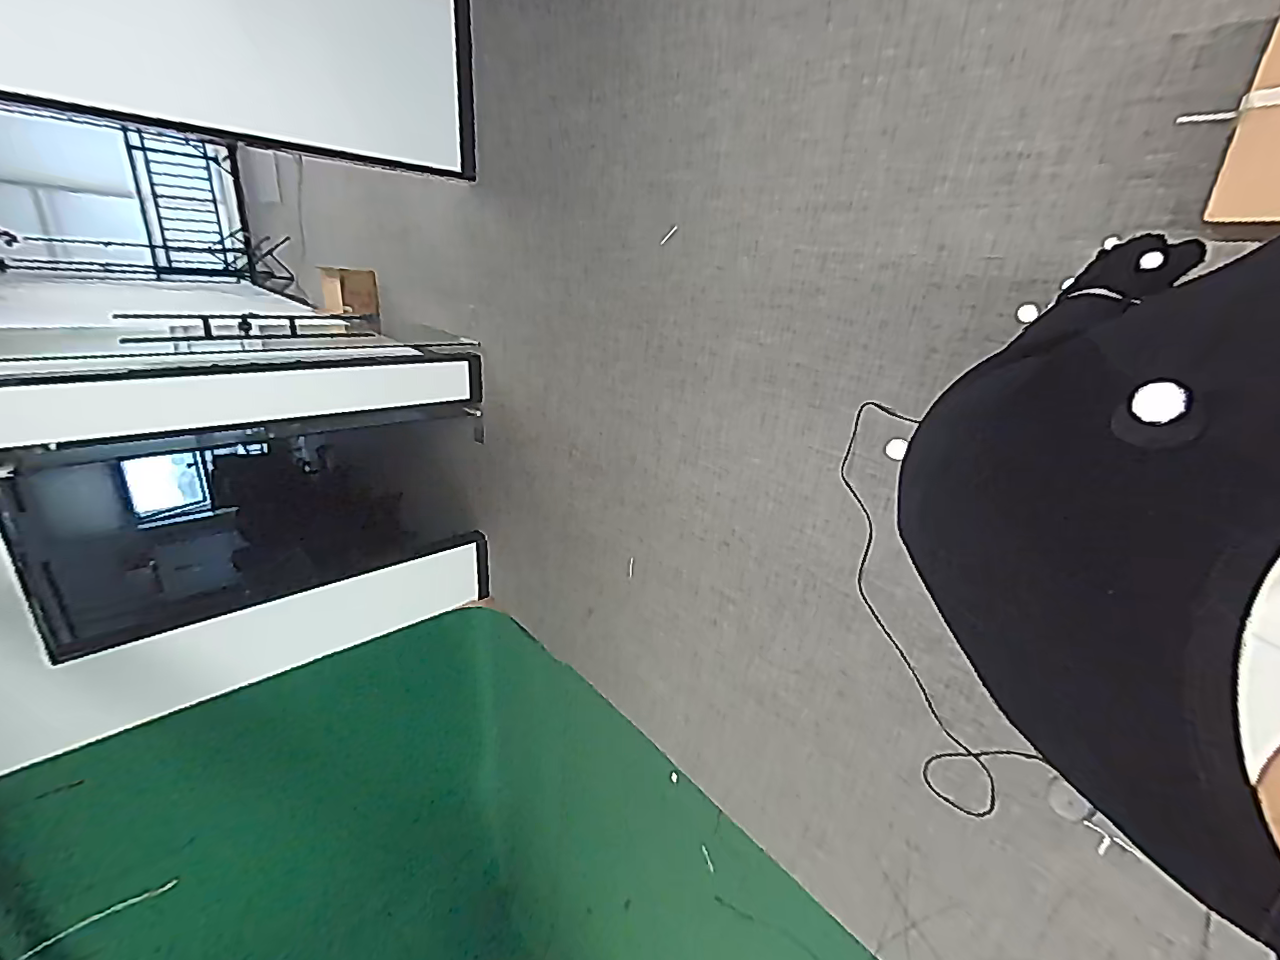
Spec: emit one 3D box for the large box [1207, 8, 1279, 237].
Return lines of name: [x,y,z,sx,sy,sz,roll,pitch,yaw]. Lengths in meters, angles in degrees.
large box: [1.094,-0.511,0.719,0.408,0.320,0.320,24,119,42]
